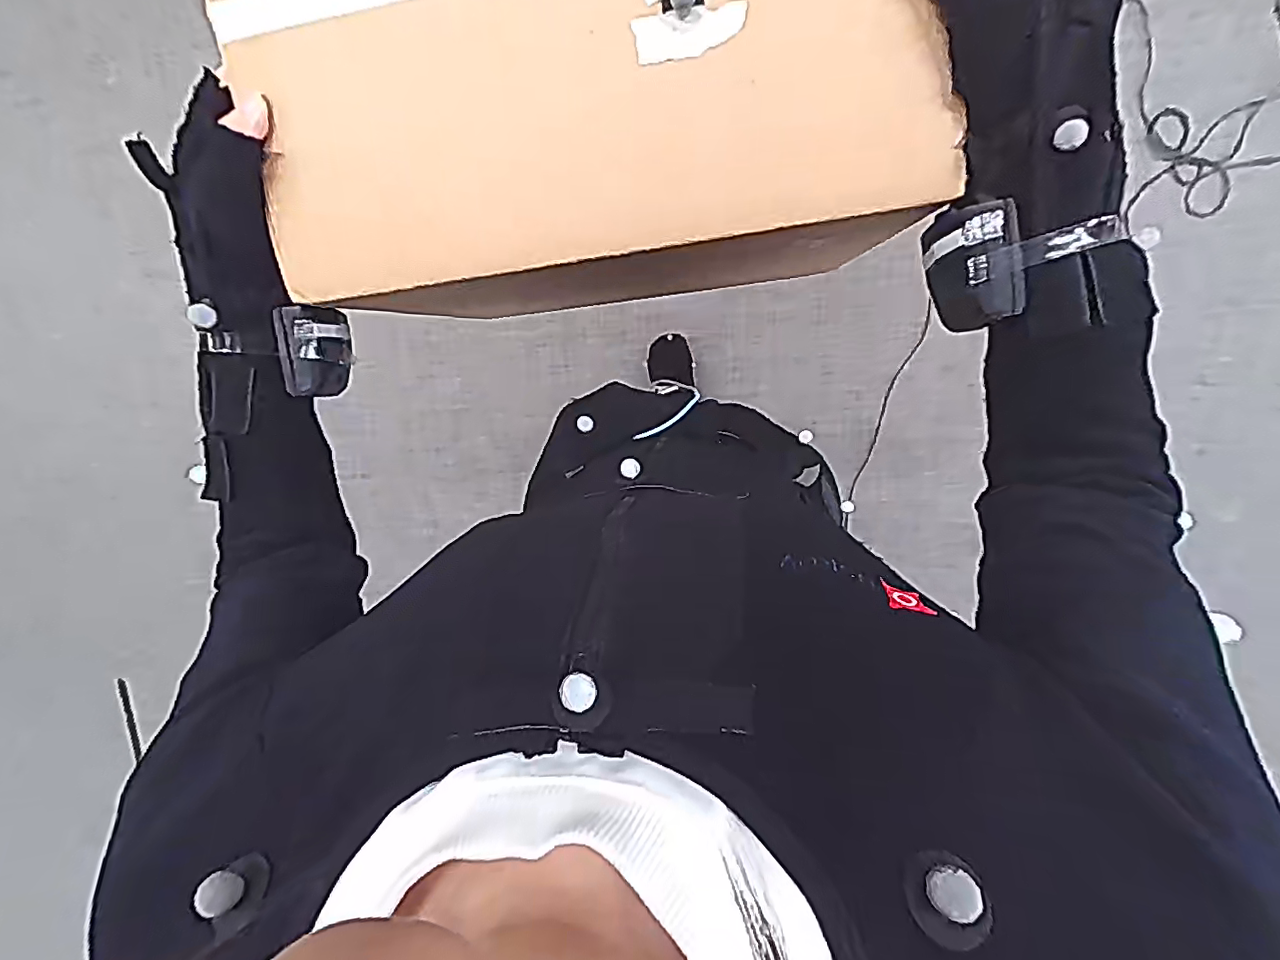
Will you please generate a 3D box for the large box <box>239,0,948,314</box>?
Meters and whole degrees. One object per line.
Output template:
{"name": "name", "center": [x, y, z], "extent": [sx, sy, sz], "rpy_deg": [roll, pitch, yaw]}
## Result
{"name": "large box", "center": [-0.028, -0.330, 0.440], "extent": [0.408, 0.320, 0.320], "rpy_deg": [-6, 104, 9]}
